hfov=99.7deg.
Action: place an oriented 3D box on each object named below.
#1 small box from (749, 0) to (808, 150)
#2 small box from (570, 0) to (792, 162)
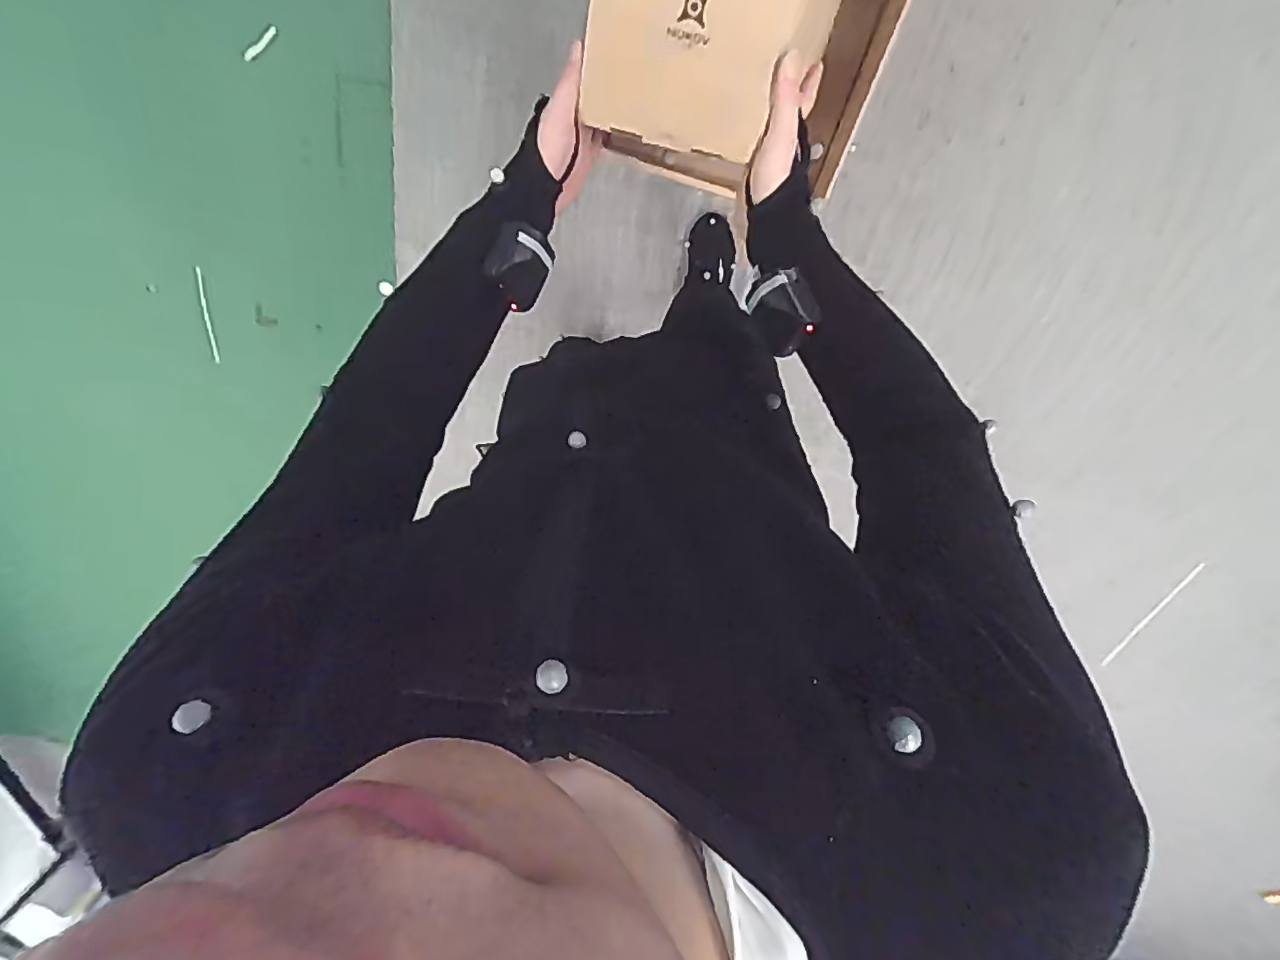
[{"bbox_3d":[0.096,-0.527,0.665,0.168,0.176,0.179,19,122,-2],"label":"small box"},{"bbox_3d":[0.044,-0.411,0.494,0.168,0.176,0.179,13,123,-1],"label":"small box"}]
